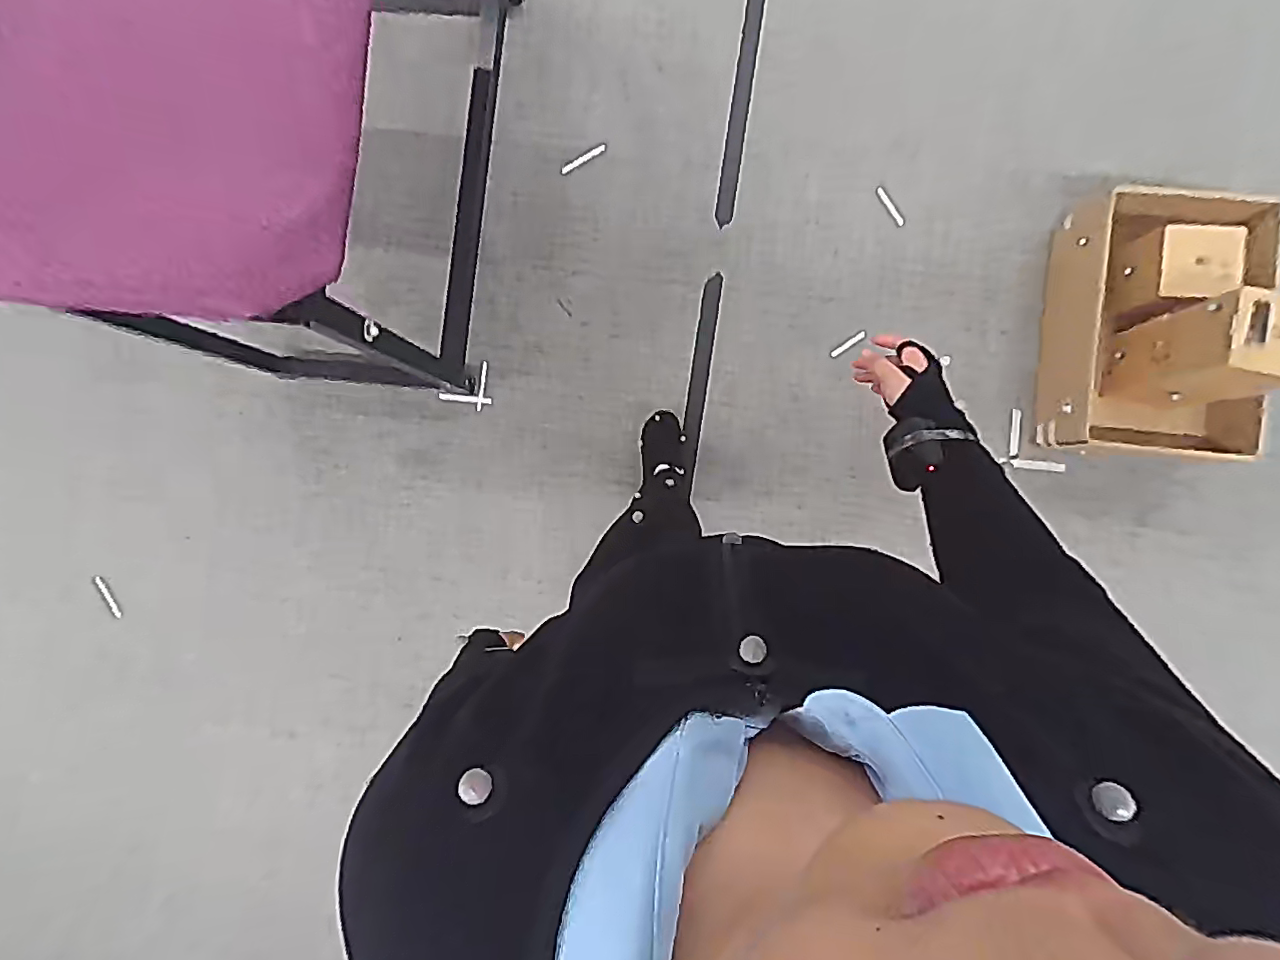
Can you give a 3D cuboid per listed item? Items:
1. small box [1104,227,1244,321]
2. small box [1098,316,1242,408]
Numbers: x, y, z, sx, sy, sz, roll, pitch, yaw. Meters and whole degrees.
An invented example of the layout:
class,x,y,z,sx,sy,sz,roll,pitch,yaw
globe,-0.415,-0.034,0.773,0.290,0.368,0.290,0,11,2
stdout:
class,x,y,z,sx,sy,sz,roll,pitch,yaw
small box,1.286,-0.494,1.315,0.179,0.176,0.168,5,92,3
small box,1.280,-0.278,1.316,0.179,0.176,0.168,11,87,4
